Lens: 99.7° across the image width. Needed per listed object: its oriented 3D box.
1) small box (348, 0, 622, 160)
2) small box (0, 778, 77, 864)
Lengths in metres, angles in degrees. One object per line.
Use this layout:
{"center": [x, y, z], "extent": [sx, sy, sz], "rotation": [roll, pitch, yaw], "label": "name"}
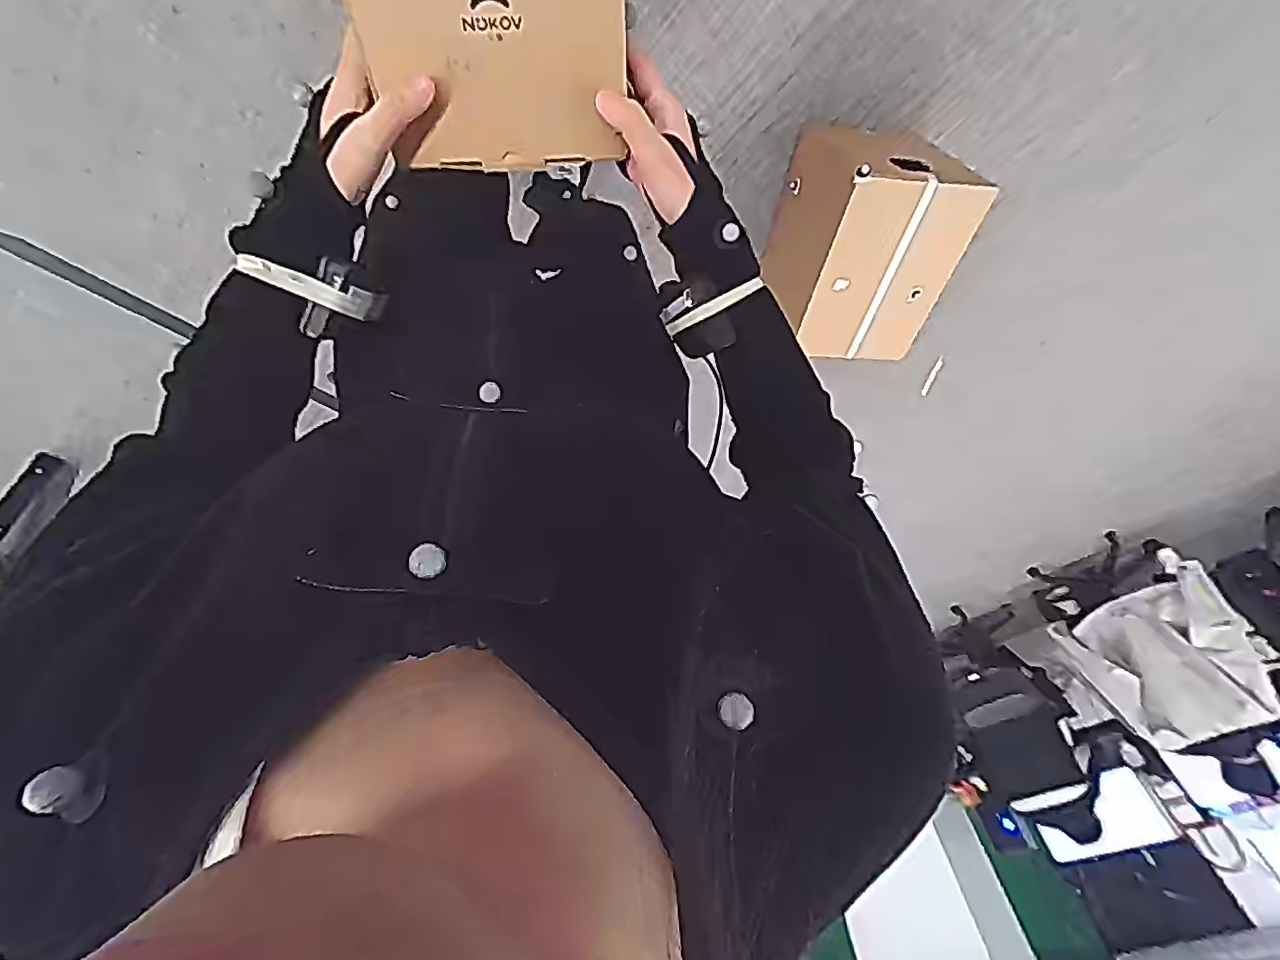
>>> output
{"center": [-0.097, -0.347, 0.376], "extent": [0.168, 0.176, 0.179], "rotation": [-3, 137, -3], "label": "small box"}
{"center": [-1.632, 0.899, 1.410], "extent": [0.179, 0.176, 0.168], "rotation": [-37, 133, 25], "label": "small box"}
